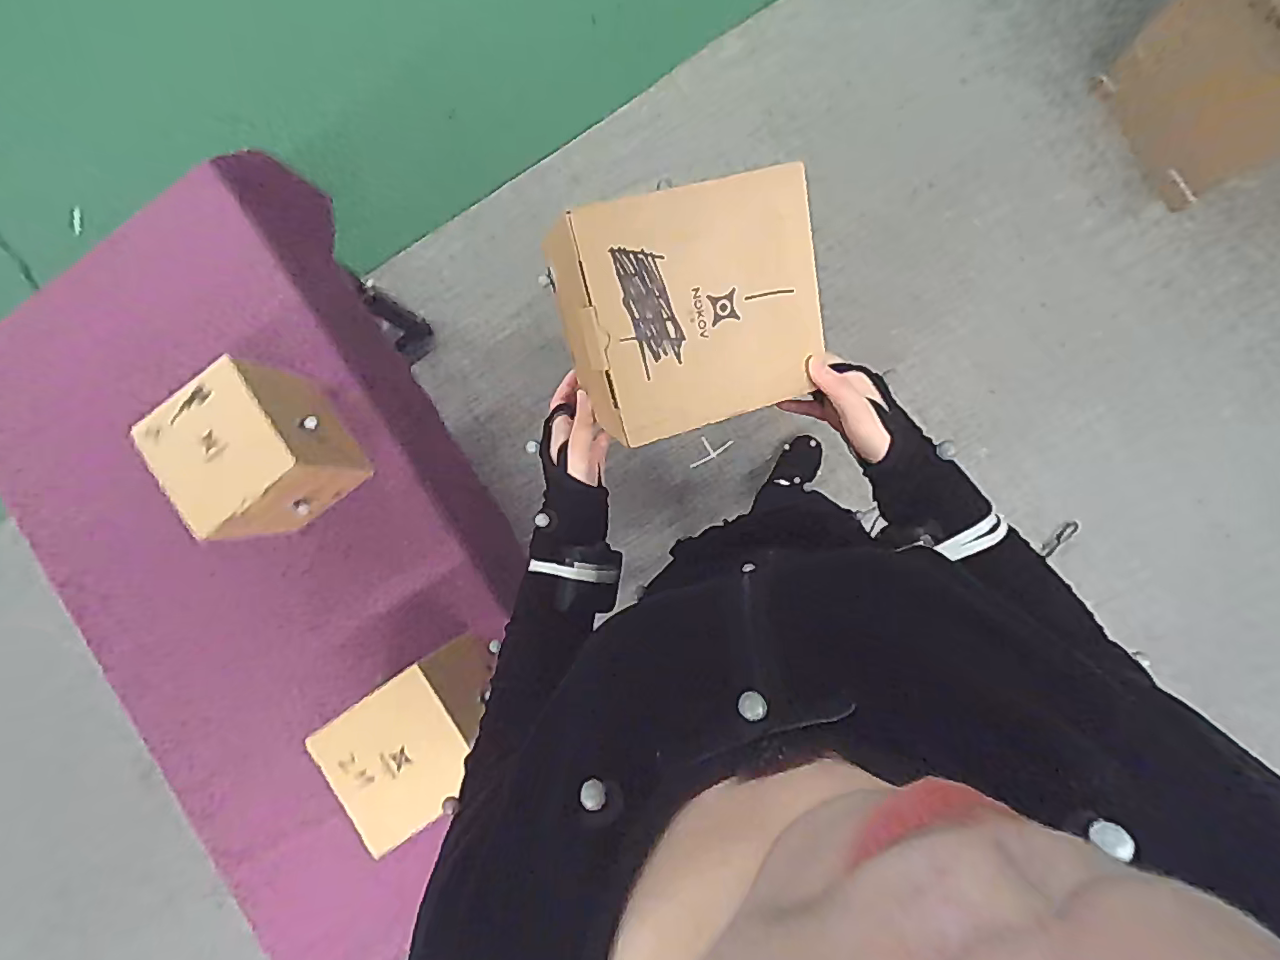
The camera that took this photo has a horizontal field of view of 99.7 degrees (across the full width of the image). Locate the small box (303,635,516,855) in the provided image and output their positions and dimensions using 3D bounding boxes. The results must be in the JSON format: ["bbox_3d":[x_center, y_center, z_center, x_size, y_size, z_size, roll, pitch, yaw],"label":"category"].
[{"bbox_3d":[-0.285,0.333,0.720,0.179,0.176,0.168,-35,85,4],"label":"small box"}]

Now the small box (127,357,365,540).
[{"bbox_3d":[-0.530,-0.040,0.755,0.168,0.176,0.179,-36,86,3],"label":"small box"}]

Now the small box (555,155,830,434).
[{"bbox_3d":[0.032,-0.151,0.462,0.179,0.176,0.168,-17,110,-11],"label":"small box"}]
